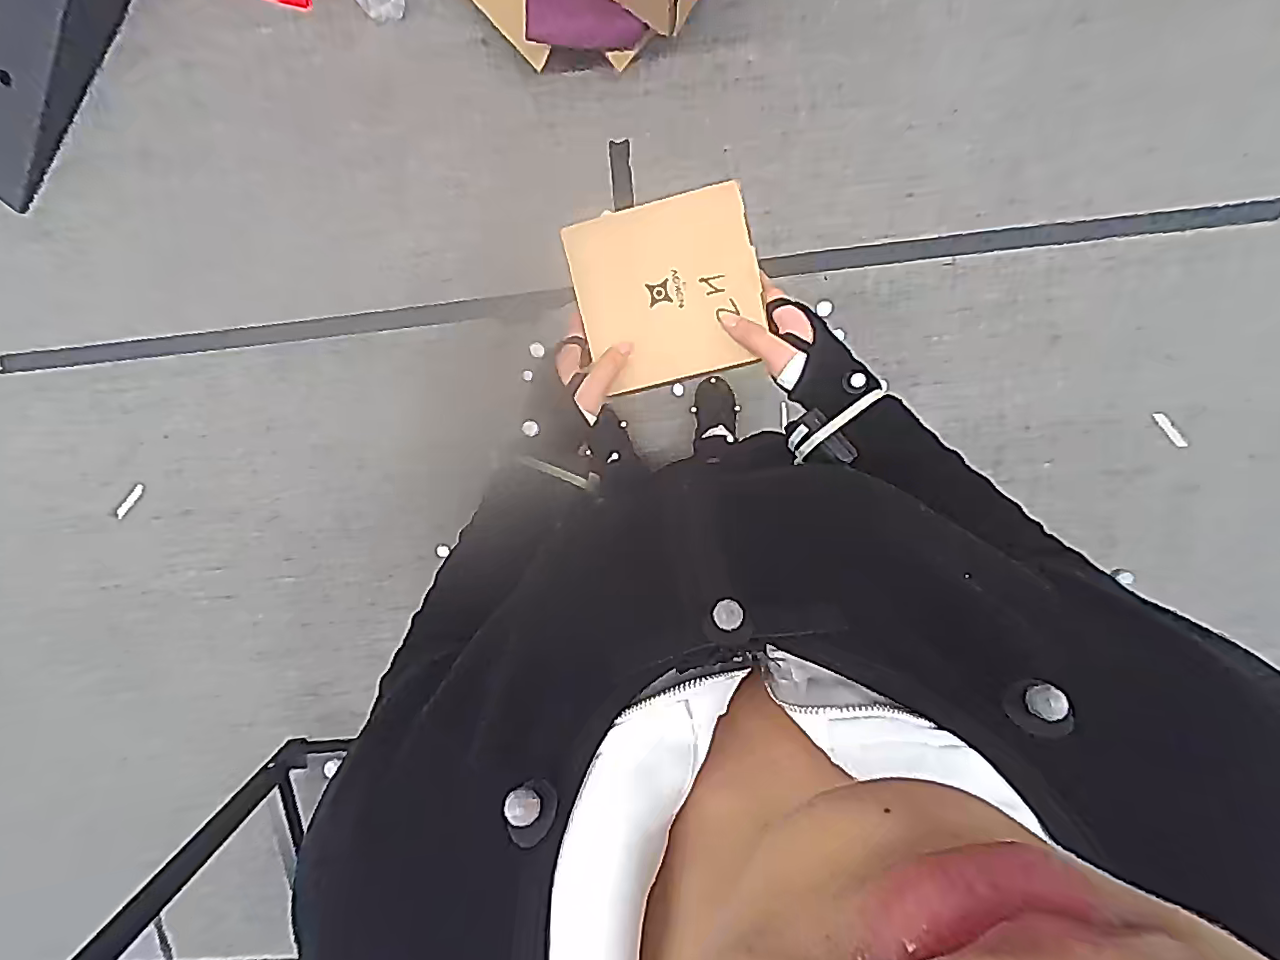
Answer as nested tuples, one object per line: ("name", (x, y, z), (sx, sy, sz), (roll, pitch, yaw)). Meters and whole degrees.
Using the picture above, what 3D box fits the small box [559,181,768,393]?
("small box", (0.028, -0.193, 0.596), (0.179, 0.176, 0.168), (-13, 99, 5))
